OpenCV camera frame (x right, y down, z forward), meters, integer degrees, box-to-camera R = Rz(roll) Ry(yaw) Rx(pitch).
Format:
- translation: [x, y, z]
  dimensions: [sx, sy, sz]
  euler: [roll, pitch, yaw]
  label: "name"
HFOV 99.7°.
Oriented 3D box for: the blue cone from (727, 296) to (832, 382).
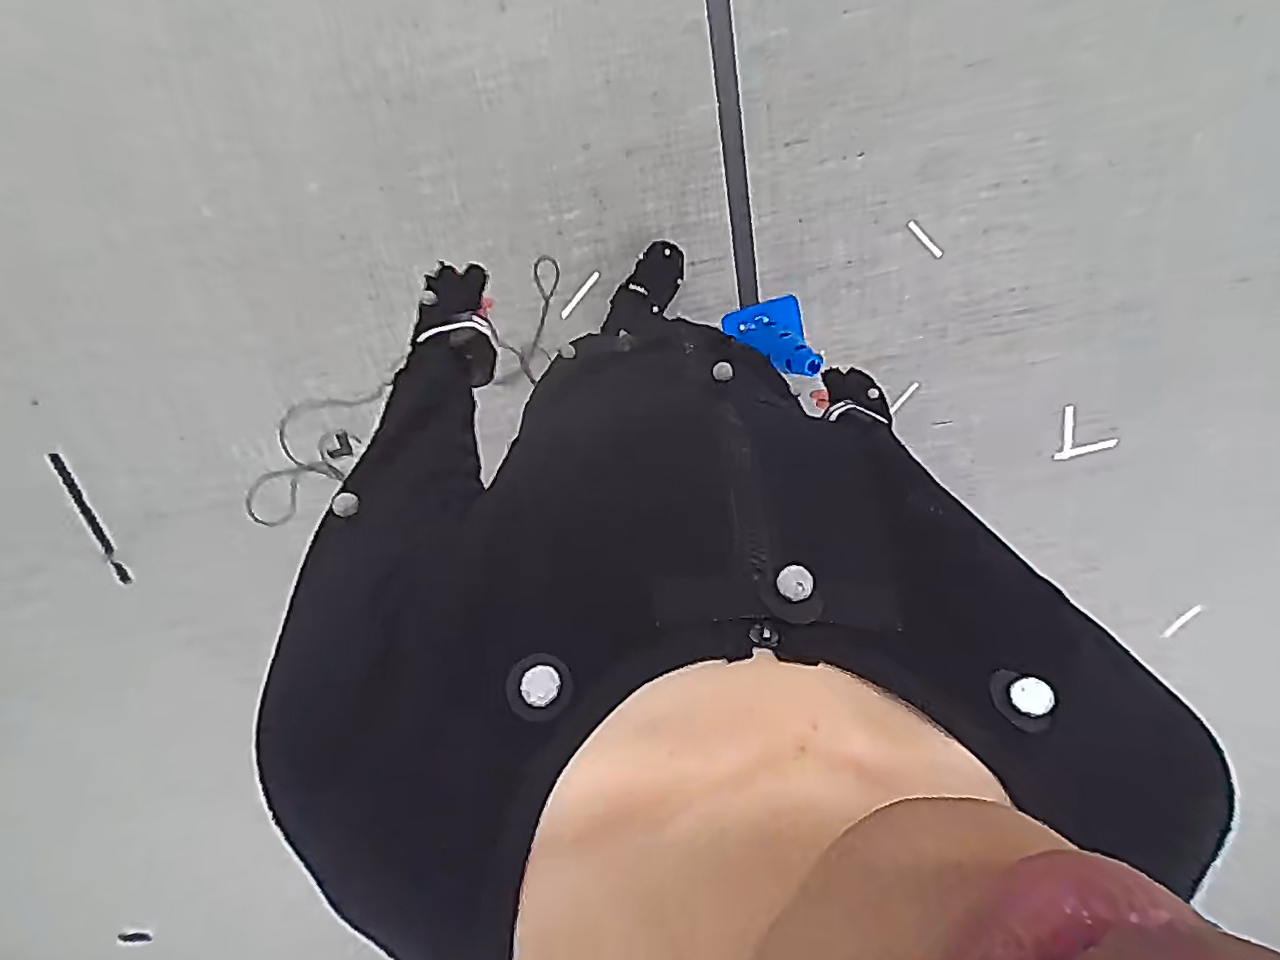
- translation: [0.338, -0.299, 1.237]
  dimensions: [0.192, 0.380, 0.193]
  euler: [-15, 111, 1]
  label: "blue cone"
